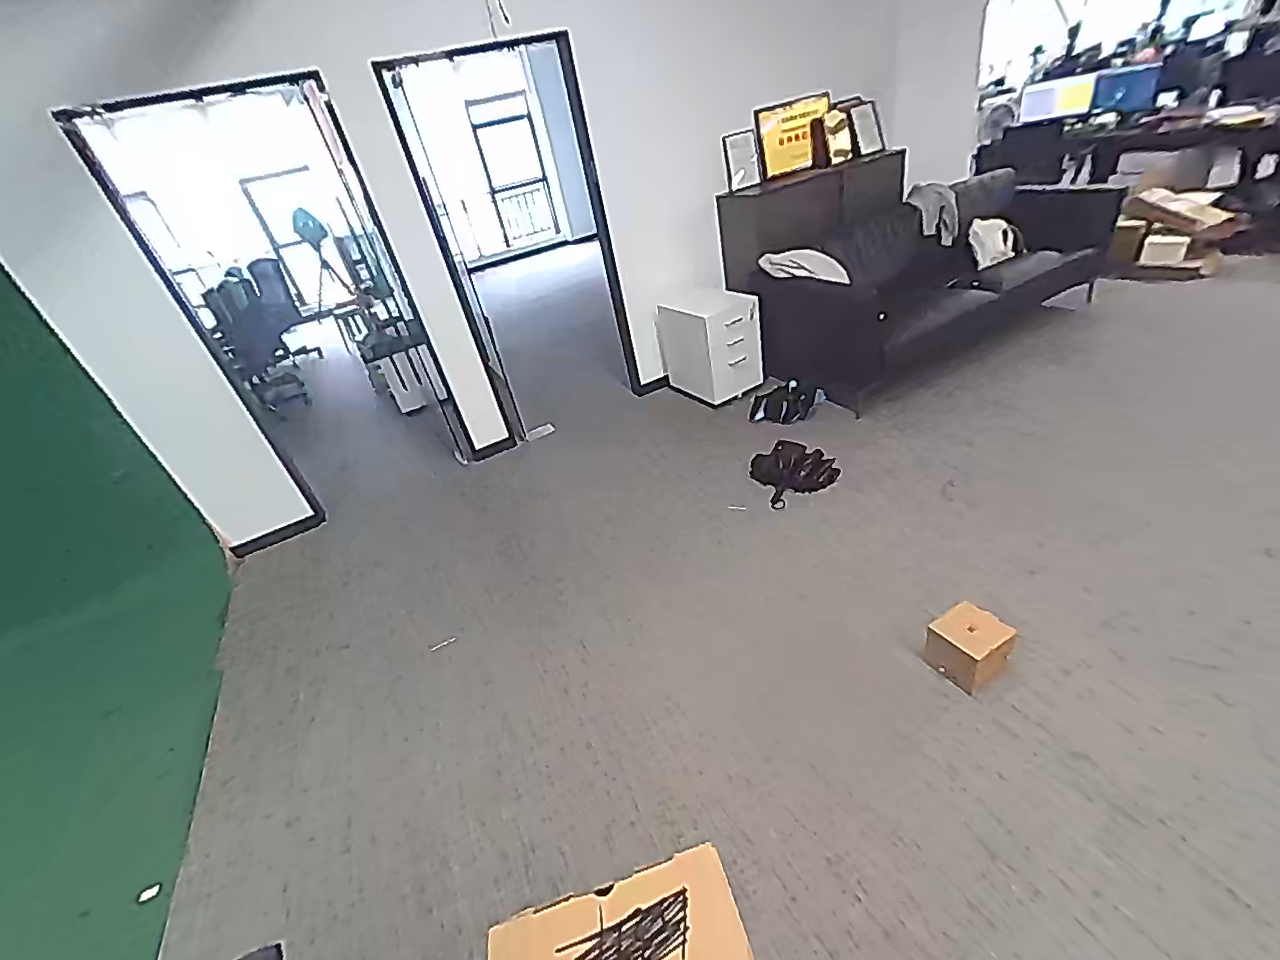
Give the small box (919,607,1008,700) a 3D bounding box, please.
[{"bbox_3d":[0.986,0.533,1.665,0.179,0.176,0.168,-26,34,-18],"label":"small box"}]
